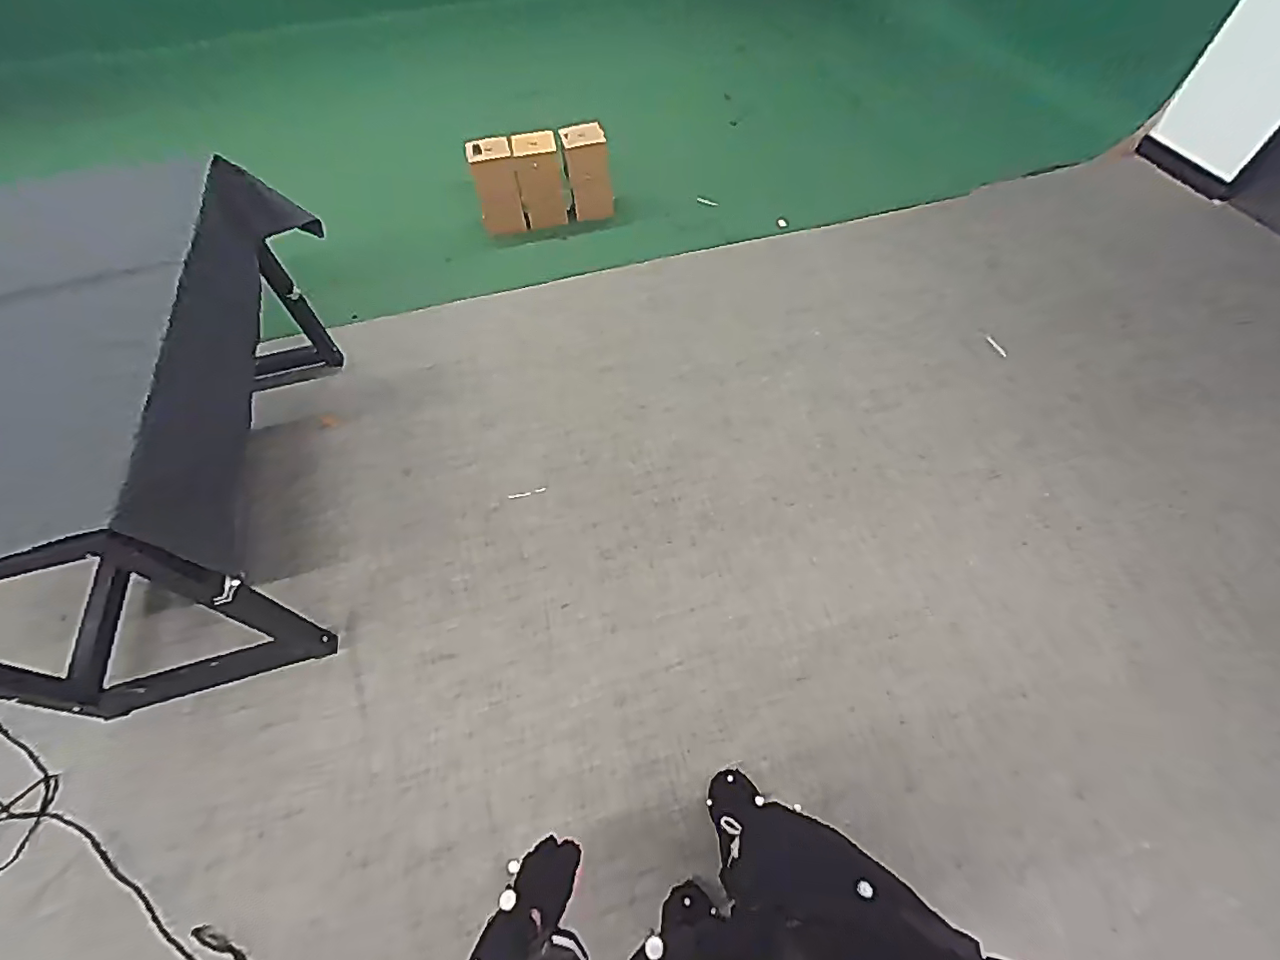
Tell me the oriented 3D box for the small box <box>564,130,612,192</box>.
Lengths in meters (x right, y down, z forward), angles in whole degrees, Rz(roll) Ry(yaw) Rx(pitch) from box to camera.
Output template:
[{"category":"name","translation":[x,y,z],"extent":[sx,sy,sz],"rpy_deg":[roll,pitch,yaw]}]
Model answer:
[{"category":"small box","translation":[-0.221,-1.369,2.324],"extent":[0.179,0.176,0.168],"rpy_deg":[-13,57,-7]}]
